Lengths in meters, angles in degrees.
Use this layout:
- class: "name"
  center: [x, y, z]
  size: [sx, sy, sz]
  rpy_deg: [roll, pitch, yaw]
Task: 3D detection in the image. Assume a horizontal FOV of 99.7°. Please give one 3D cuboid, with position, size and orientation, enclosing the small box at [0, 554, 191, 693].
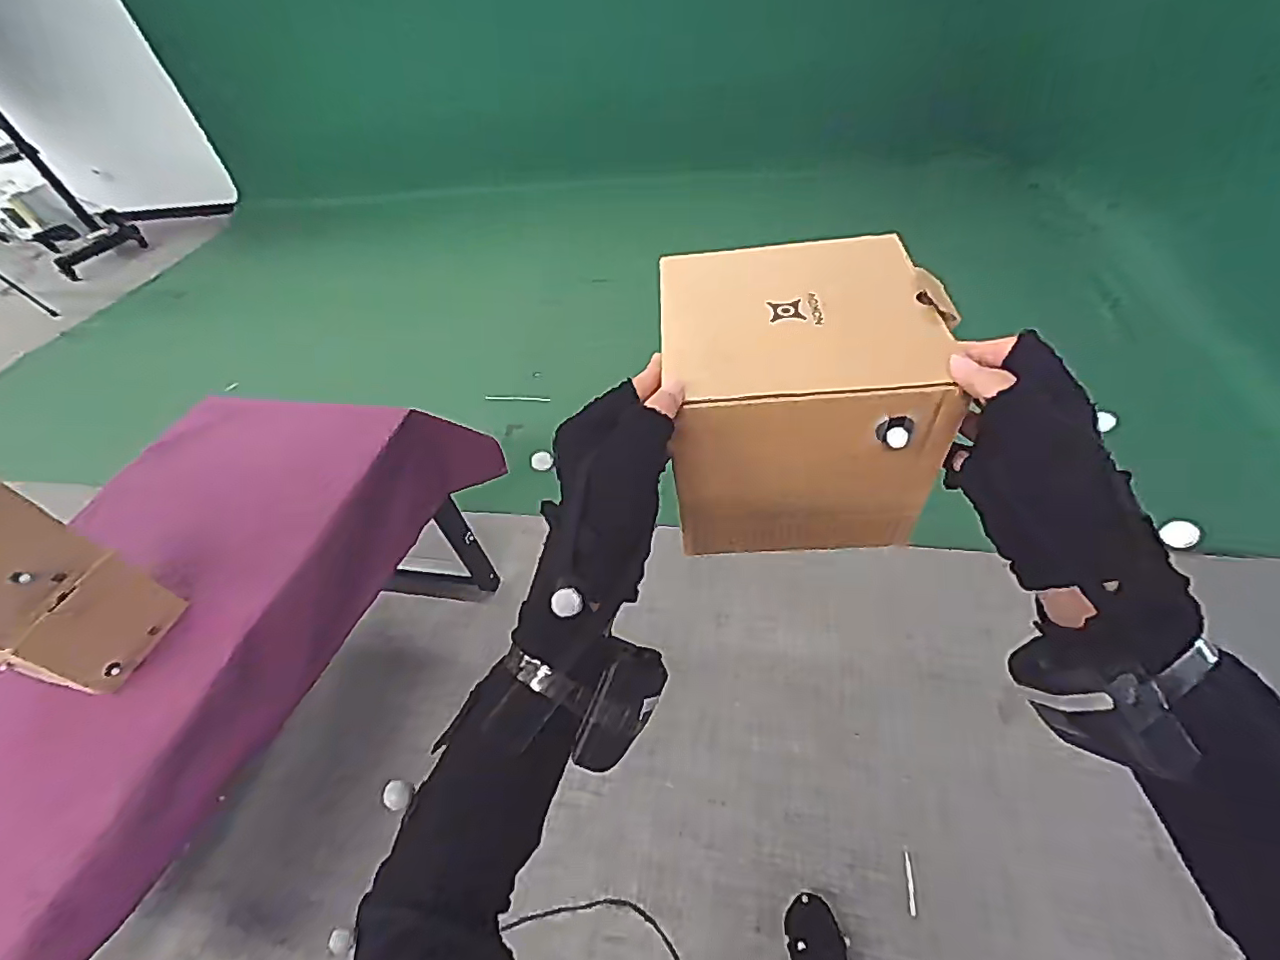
- class: "small box"
  center: [-0.895, 0.224, 0.870]
  size: [0.179, 0.176, 0.168]
  rpy_deg: [5, 48, 15]

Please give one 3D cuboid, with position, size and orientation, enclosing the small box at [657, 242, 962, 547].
- class: "small box"
  center: [0.109, -0.059, 0.423]
  size: [0.179, 0.176, 0.168]
  rpy_deg: [-3, 50, 6]

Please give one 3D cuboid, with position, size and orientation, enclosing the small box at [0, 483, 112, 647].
- class: "small box"
  center: [-0.925, 0.113, 0.752]
  size: [0.179, 0.176, 0.168]
  rpy_deg: [5, 49, 14]
